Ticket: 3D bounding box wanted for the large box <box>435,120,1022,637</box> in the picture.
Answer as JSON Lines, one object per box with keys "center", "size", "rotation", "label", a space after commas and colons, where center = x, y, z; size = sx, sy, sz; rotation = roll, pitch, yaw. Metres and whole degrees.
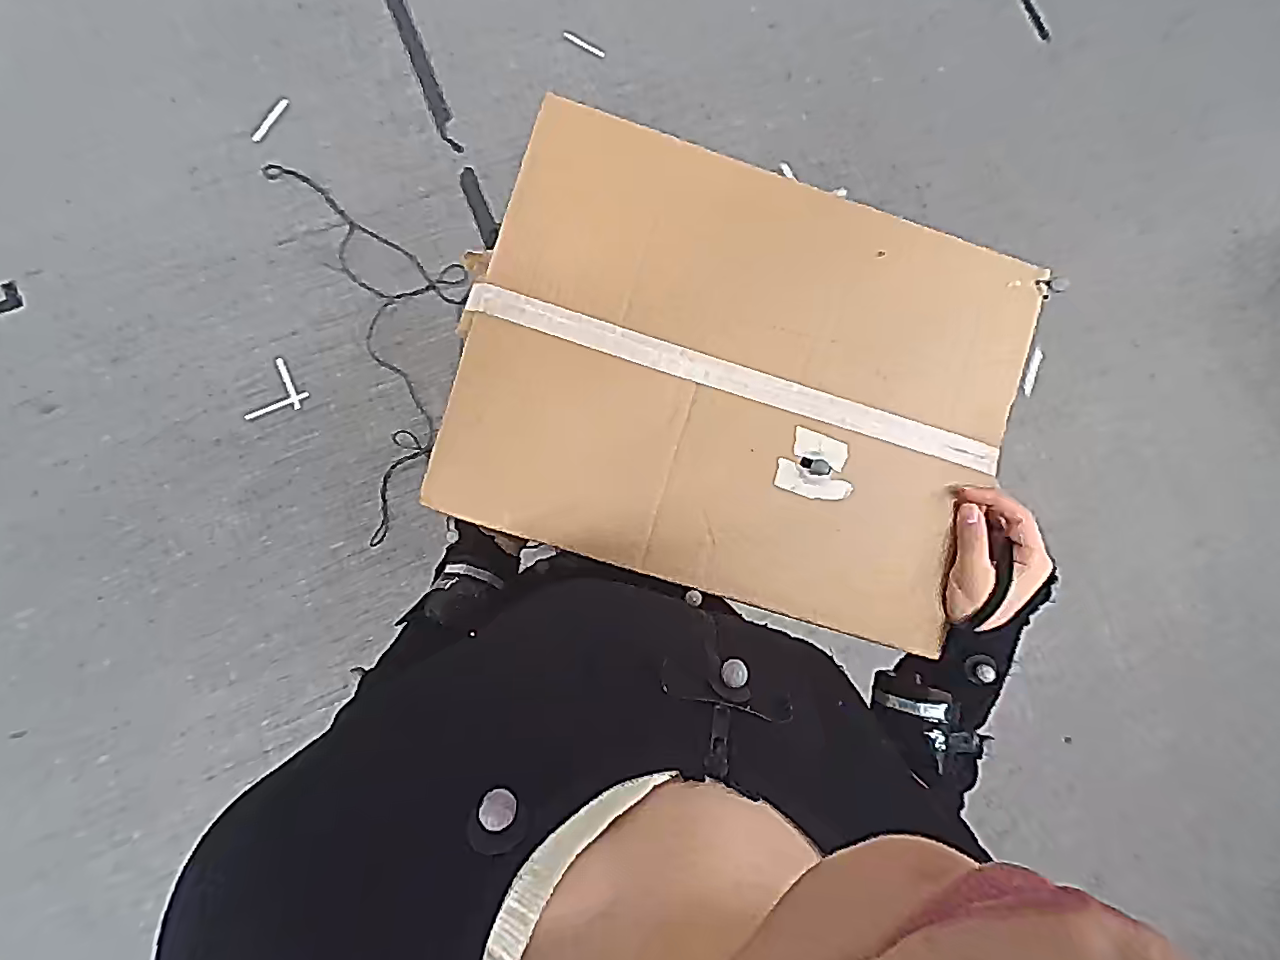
{"center": [0.063, -0.071, 0.558], "size": [0.408, 0.320, 0.320], "rotation": [16, 89, -5], "label": "large box"}
